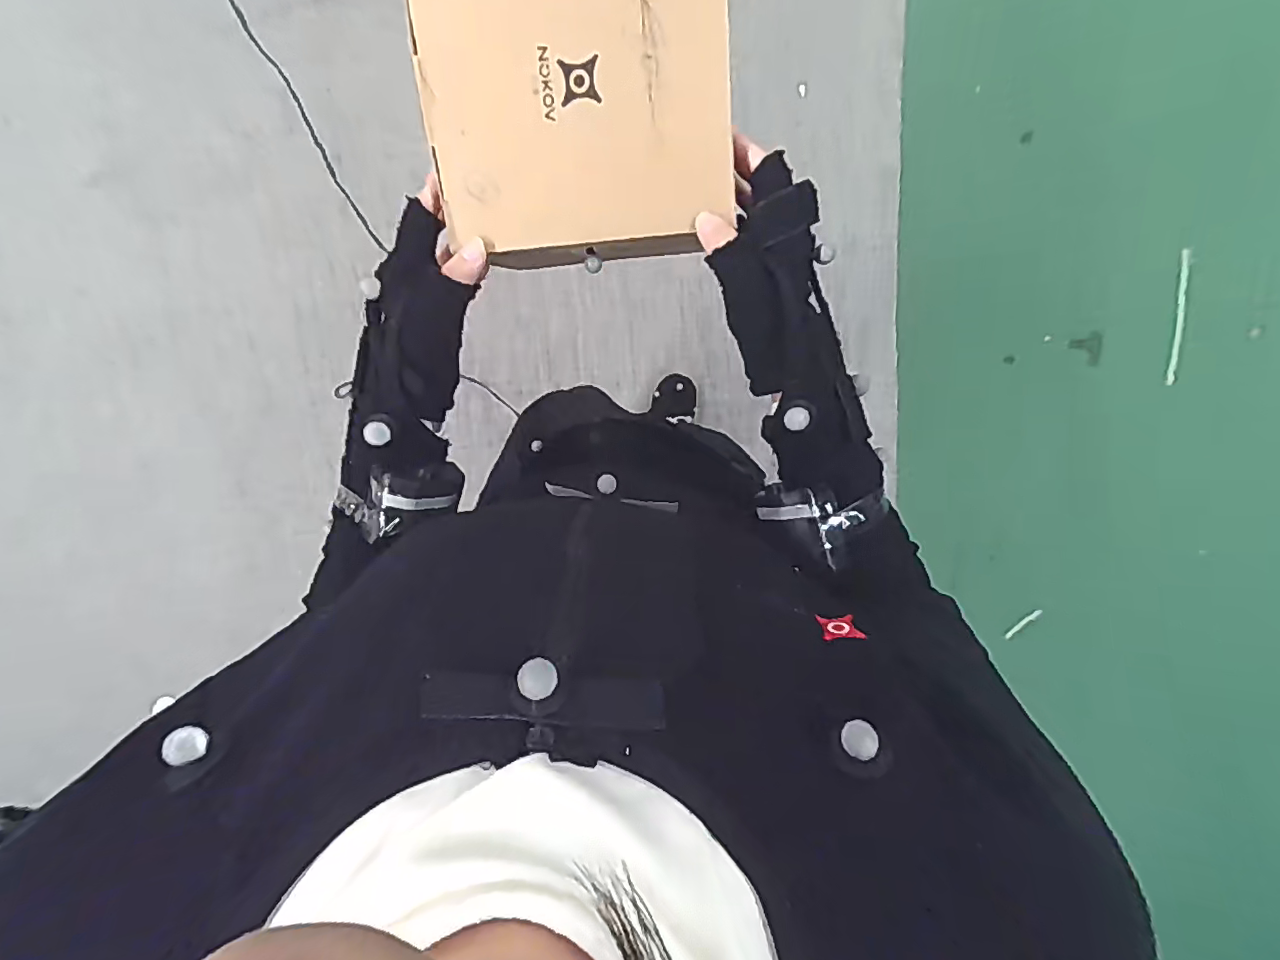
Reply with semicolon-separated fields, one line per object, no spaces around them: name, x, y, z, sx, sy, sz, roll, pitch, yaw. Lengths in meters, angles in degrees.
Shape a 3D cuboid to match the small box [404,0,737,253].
small box;-0.033;-0.257;0.372;0.179;0.176;0.168;-6;110;5
